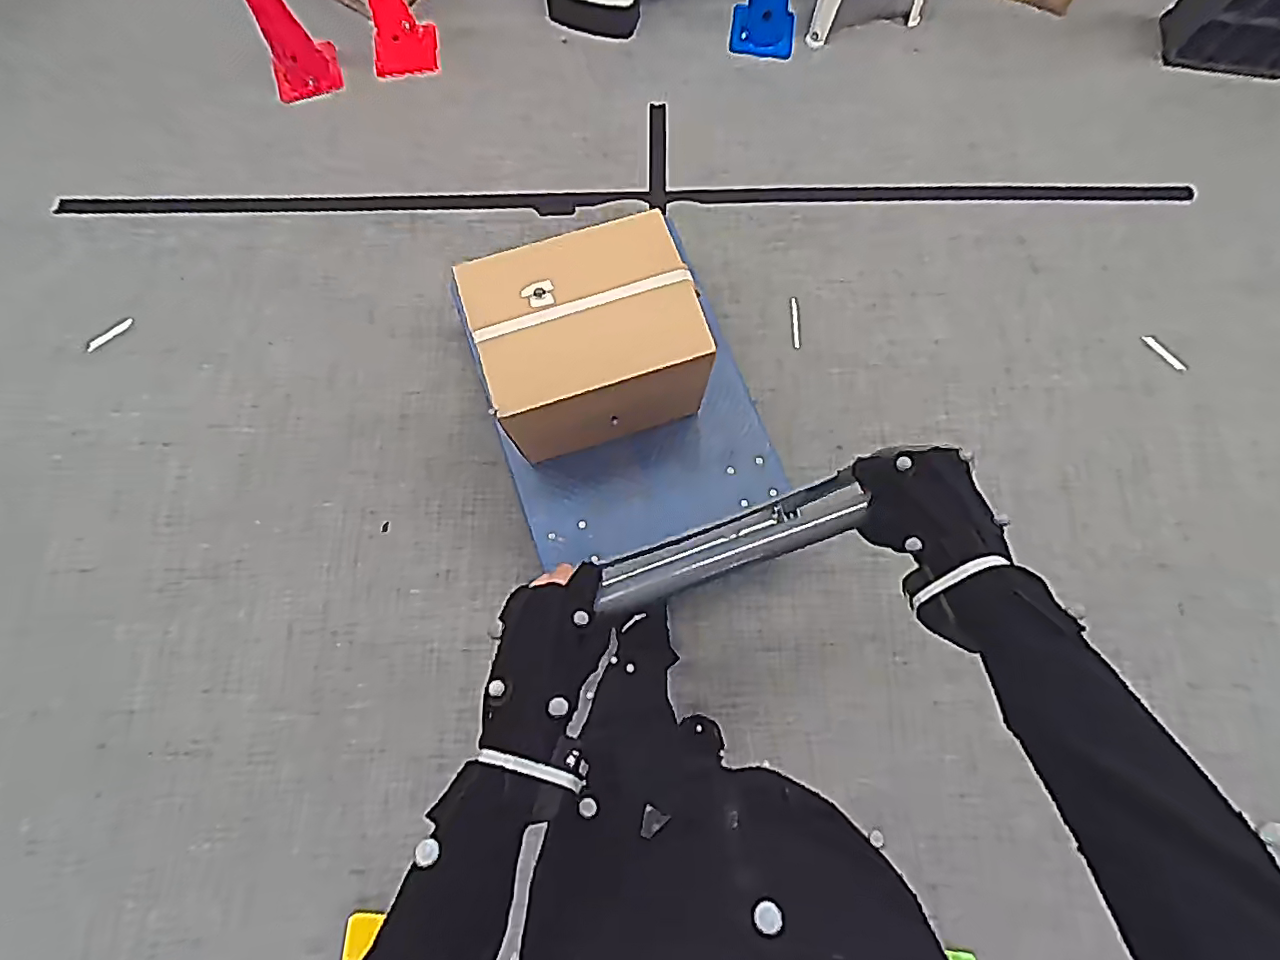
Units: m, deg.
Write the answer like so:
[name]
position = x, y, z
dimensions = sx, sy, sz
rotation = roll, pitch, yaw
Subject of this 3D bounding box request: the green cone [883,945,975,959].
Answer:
[green cone]
position = 0.612, 1.050, 0.960
dimensions = 0.202, 0.368, 0.200
rotation = 4, 76, 0

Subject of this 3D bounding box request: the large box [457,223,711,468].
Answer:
[large box]
position = -0.105, -0.257, 1.134
dimensions = 0.408, 0.320, 0.320
rotation = -19, 77, -4
